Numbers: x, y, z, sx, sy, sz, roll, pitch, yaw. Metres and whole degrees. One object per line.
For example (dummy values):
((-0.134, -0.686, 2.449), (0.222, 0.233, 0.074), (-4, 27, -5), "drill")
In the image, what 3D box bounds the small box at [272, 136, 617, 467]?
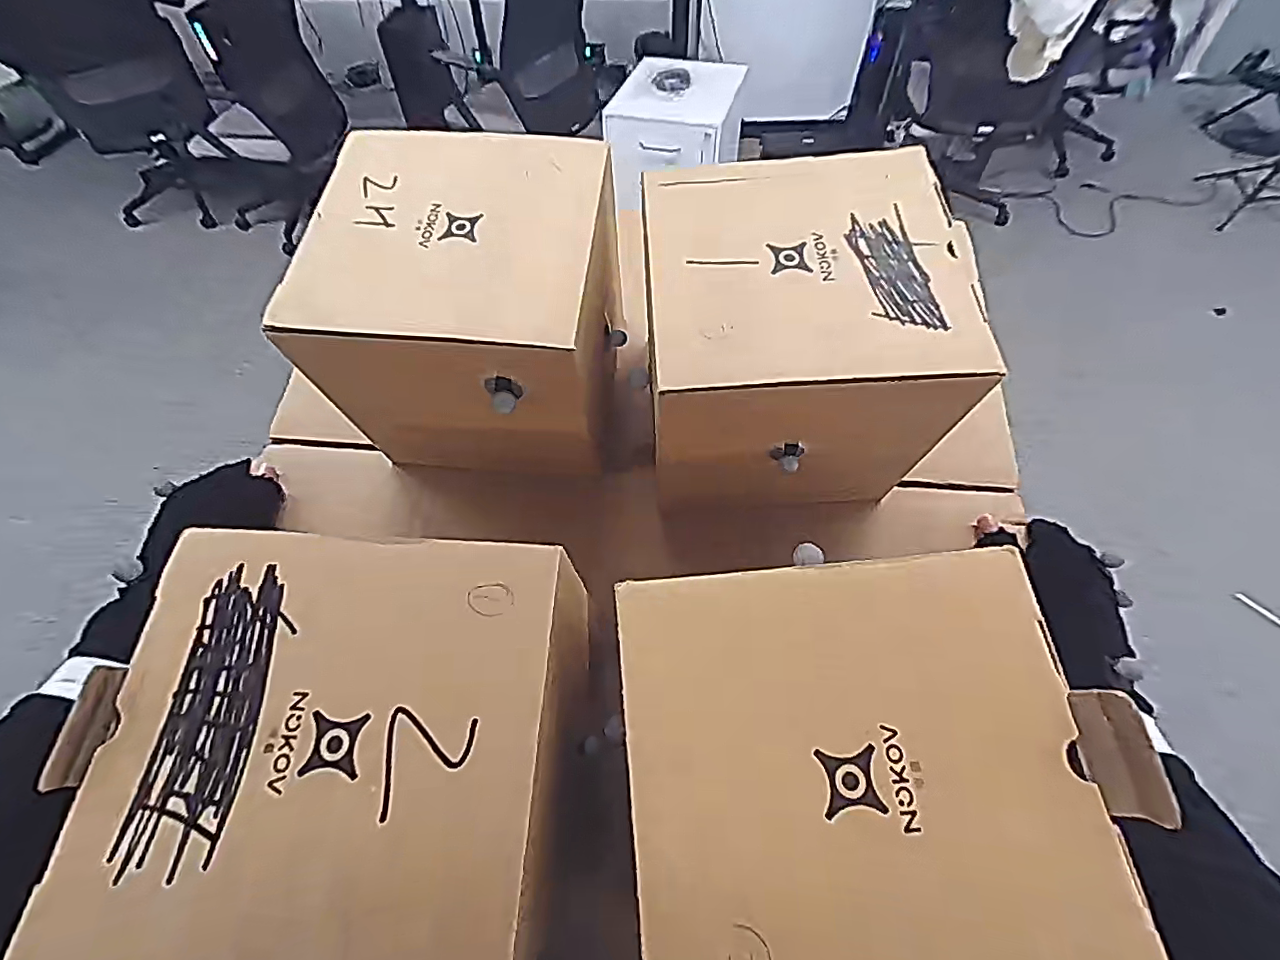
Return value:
((-0.114, -0.120, 0.408), (0.179, 0.176, 0.168), (5, 65, 4), "small box")
